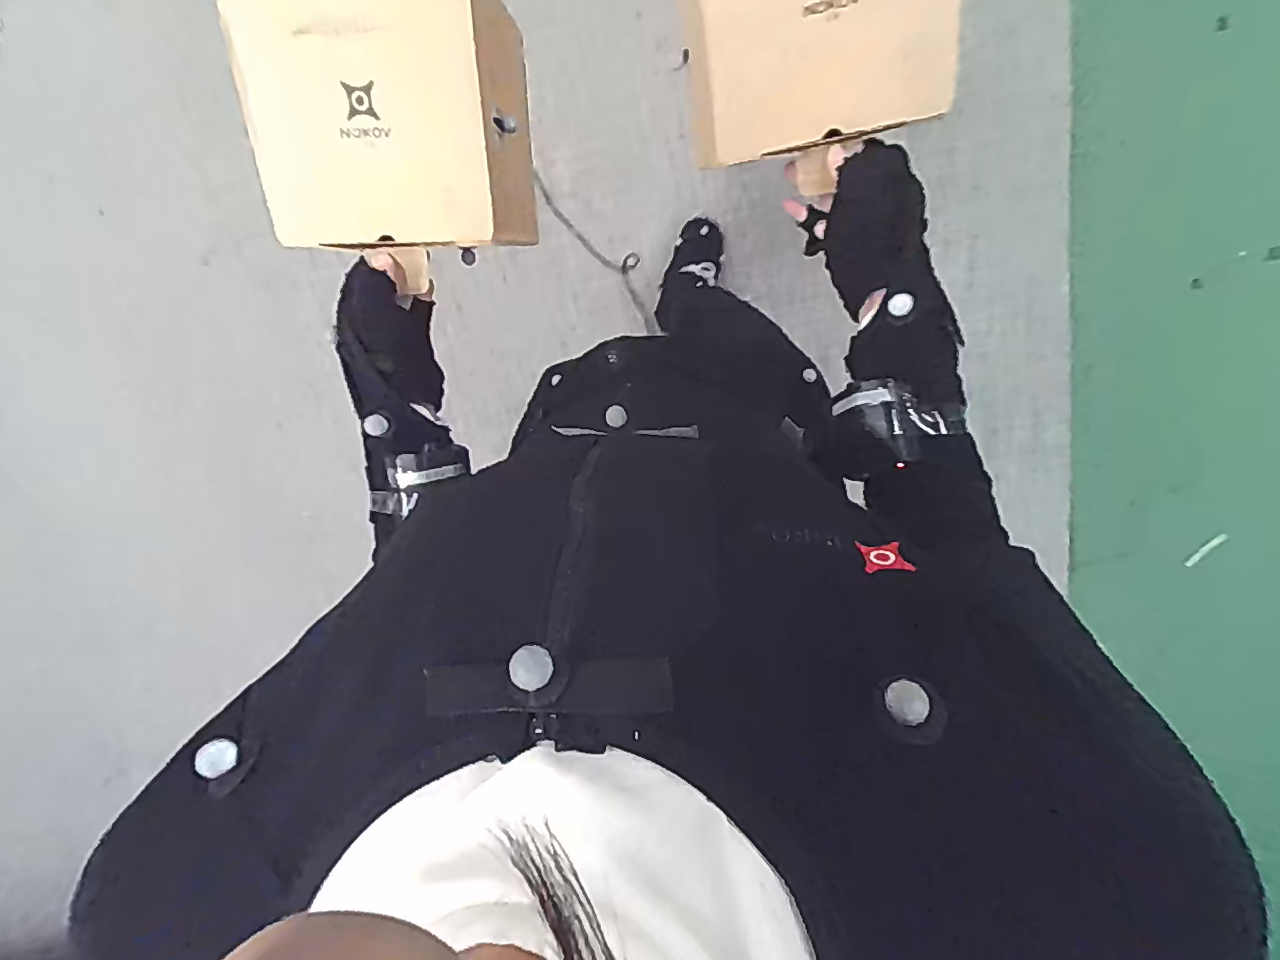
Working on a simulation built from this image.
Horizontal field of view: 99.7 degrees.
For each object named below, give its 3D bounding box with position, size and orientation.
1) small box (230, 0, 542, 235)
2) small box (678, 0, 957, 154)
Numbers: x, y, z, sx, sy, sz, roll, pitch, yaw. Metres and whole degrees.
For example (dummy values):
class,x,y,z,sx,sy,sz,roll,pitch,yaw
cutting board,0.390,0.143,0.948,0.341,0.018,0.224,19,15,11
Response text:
class,x,y,z,sx,sy,sz,roll,pitch,yaw
small box,-0.180,-0.297,0.441,0.168,0.176,0.179,-1,112,2
small box,0.120,-0.366,0.414,0.168,0.176,0.179,-11,120,4
